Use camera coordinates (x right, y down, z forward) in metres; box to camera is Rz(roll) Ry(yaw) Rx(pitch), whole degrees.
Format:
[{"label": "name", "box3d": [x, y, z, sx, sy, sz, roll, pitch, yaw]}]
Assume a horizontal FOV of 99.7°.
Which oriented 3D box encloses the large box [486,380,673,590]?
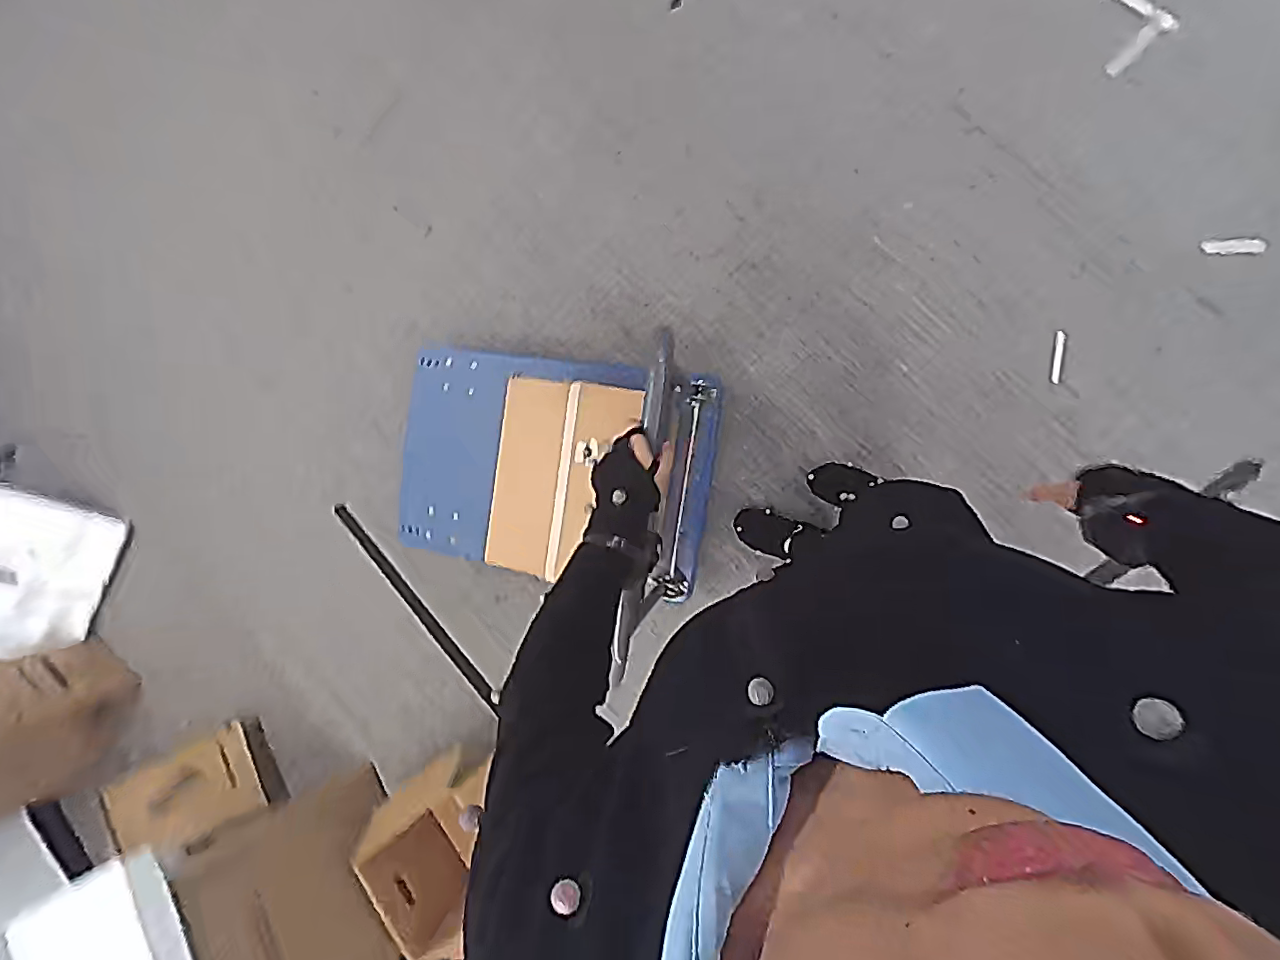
[{"label": "large box", "box3d": [-0.123, 0.006, 1.256, 0.320, 0.320, 0.408, 9, 93, 14]}]
